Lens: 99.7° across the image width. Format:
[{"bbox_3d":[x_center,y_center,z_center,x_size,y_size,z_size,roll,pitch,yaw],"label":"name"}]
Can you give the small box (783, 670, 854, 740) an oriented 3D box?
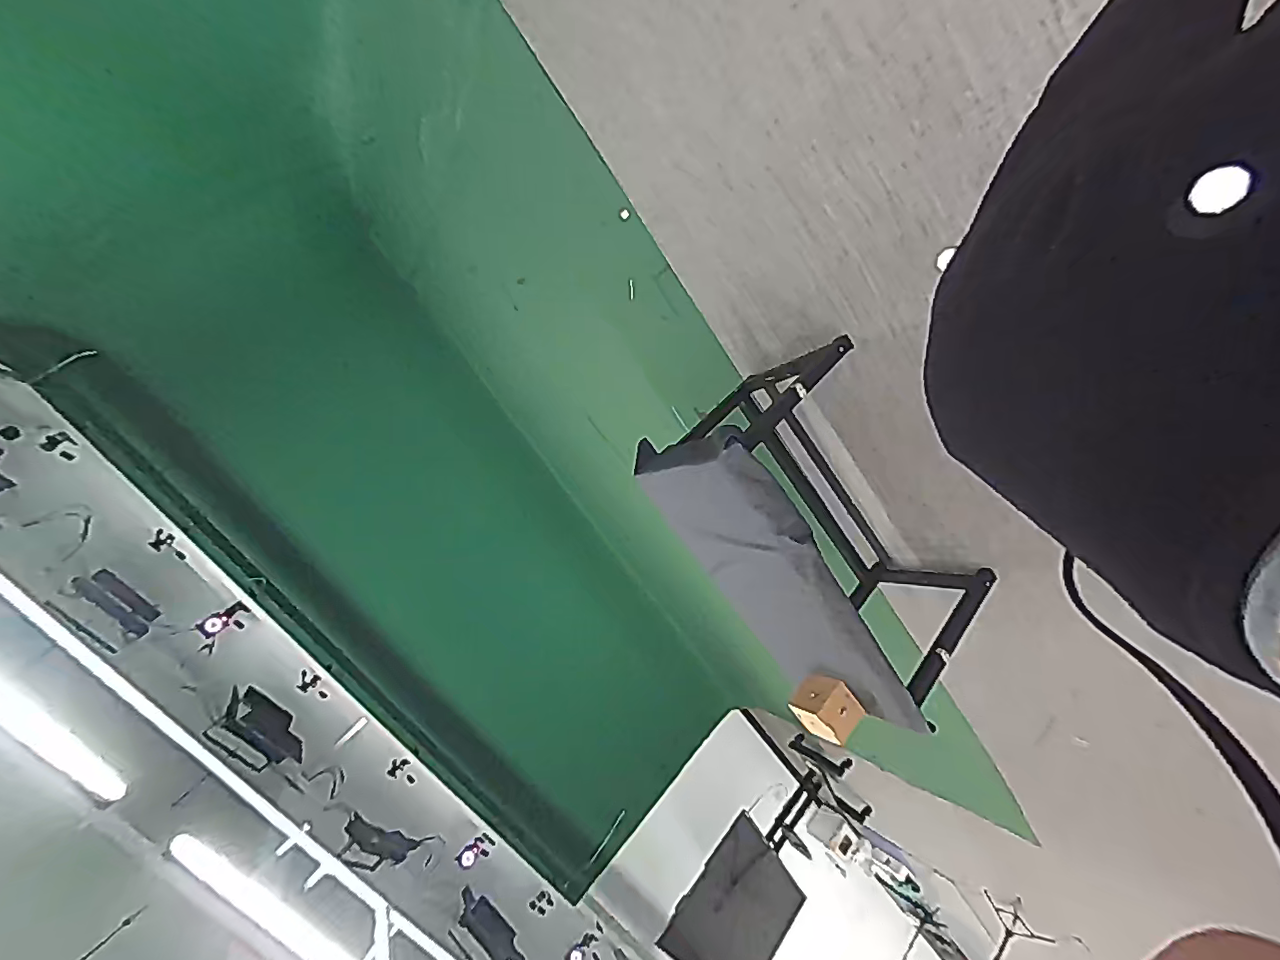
[{"bbox_3d":[0.698,0.862,2.088,0.168,0.176,0.179,52,156,-9],"label":"small box"}]
